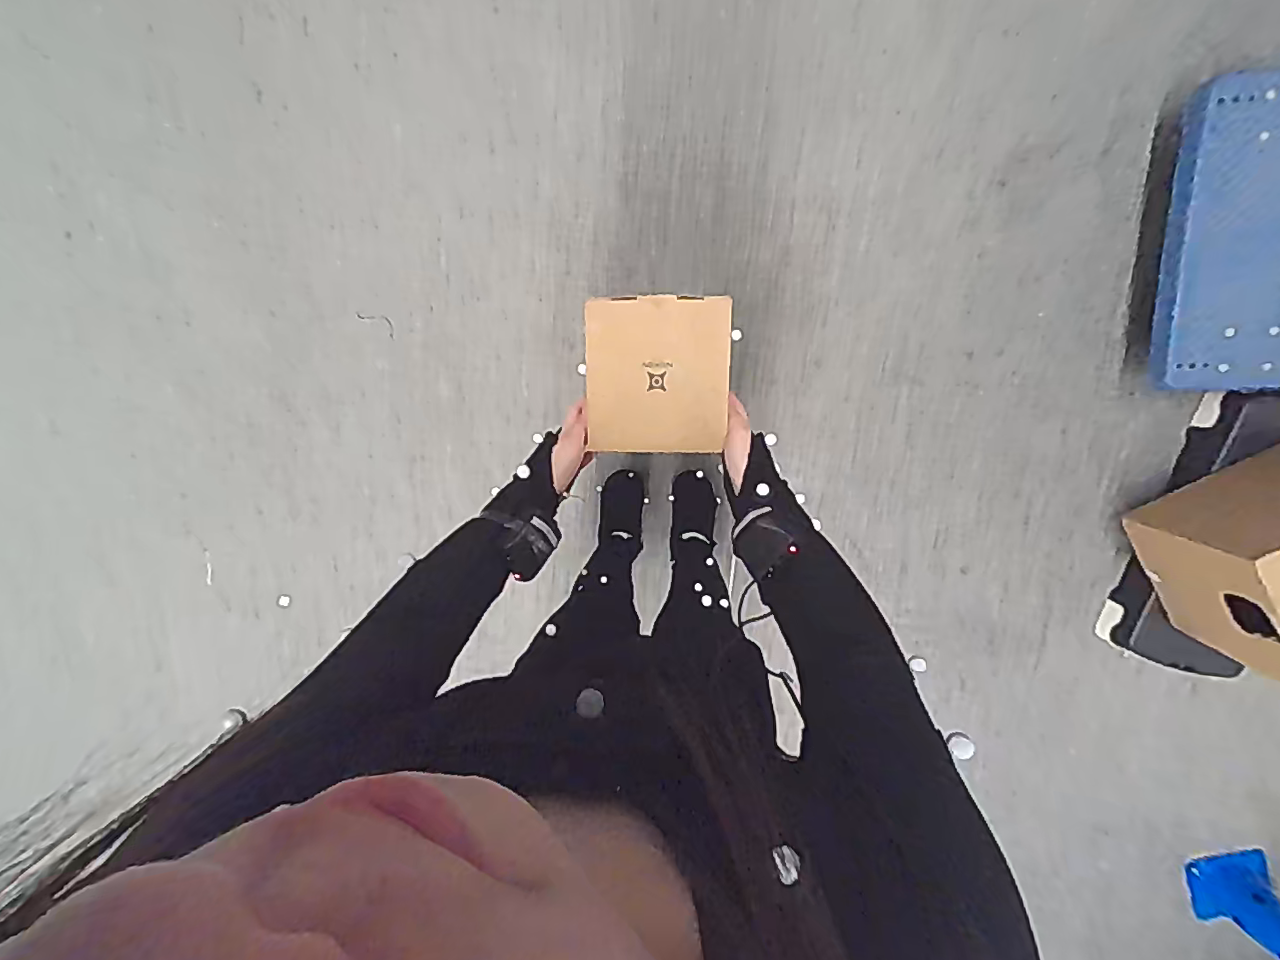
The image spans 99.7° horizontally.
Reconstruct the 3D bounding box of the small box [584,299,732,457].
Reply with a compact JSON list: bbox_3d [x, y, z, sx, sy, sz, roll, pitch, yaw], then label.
[{"bbox_3d":[0.025,-0.130,0.685,0.168,0.176,0.179,1,102,4],"label":"small box"}]
